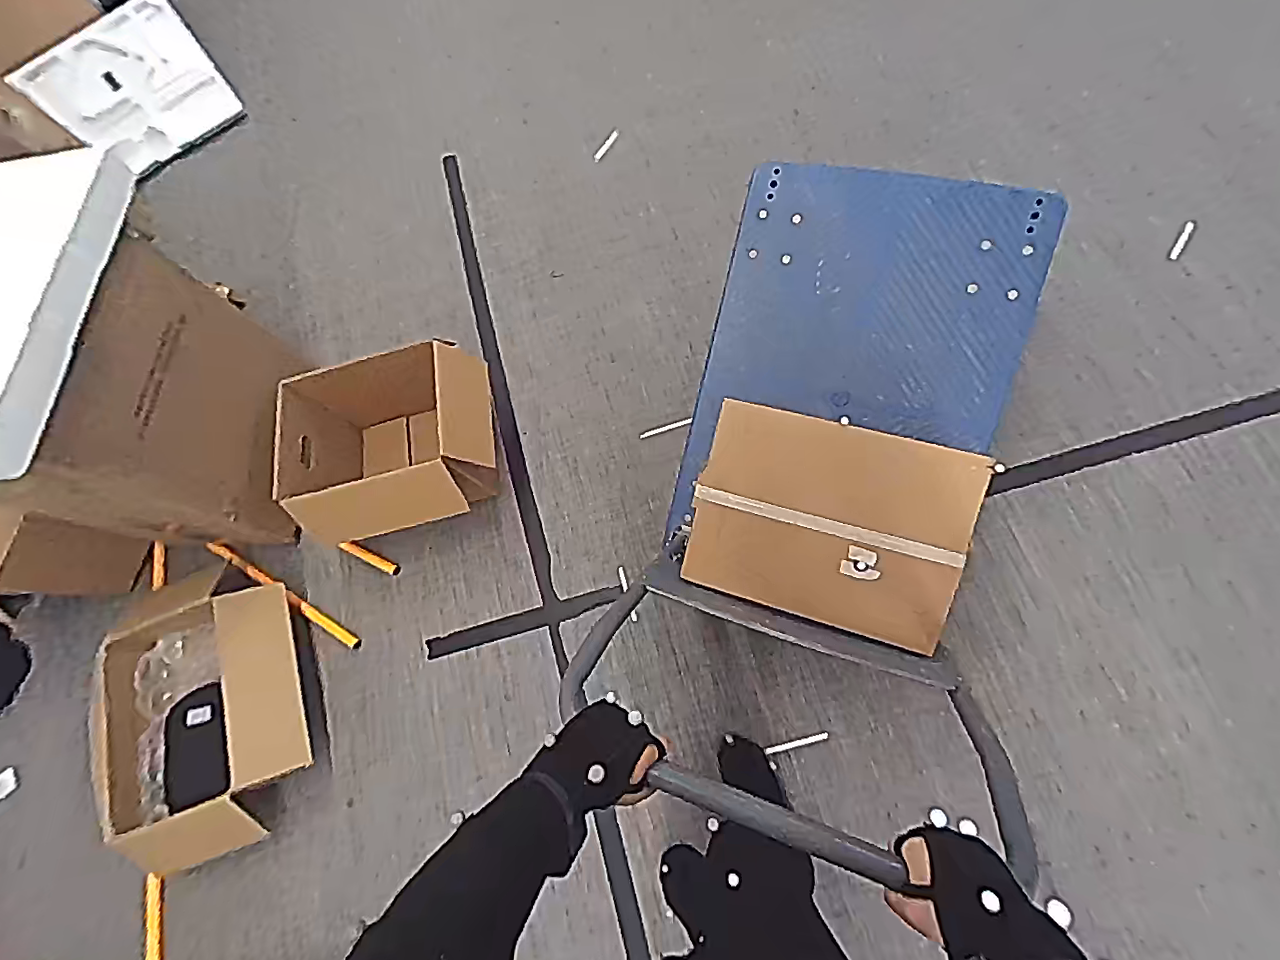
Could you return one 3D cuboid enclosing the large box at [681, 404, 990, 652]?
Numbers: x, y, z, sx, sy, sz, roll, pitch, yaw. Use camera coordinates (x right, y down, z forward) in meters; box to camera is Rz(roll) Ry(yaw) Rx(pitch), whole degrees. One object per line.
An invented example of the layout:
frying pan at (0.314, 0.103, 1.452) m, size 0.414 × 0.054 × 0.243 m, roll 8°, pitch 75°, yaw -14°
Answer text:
large box at (0.320, 0.057, 0.979) m, size 0.408 × 0.320 × 0.320 m, roll 15°, pitch 99°, yaw 14°
